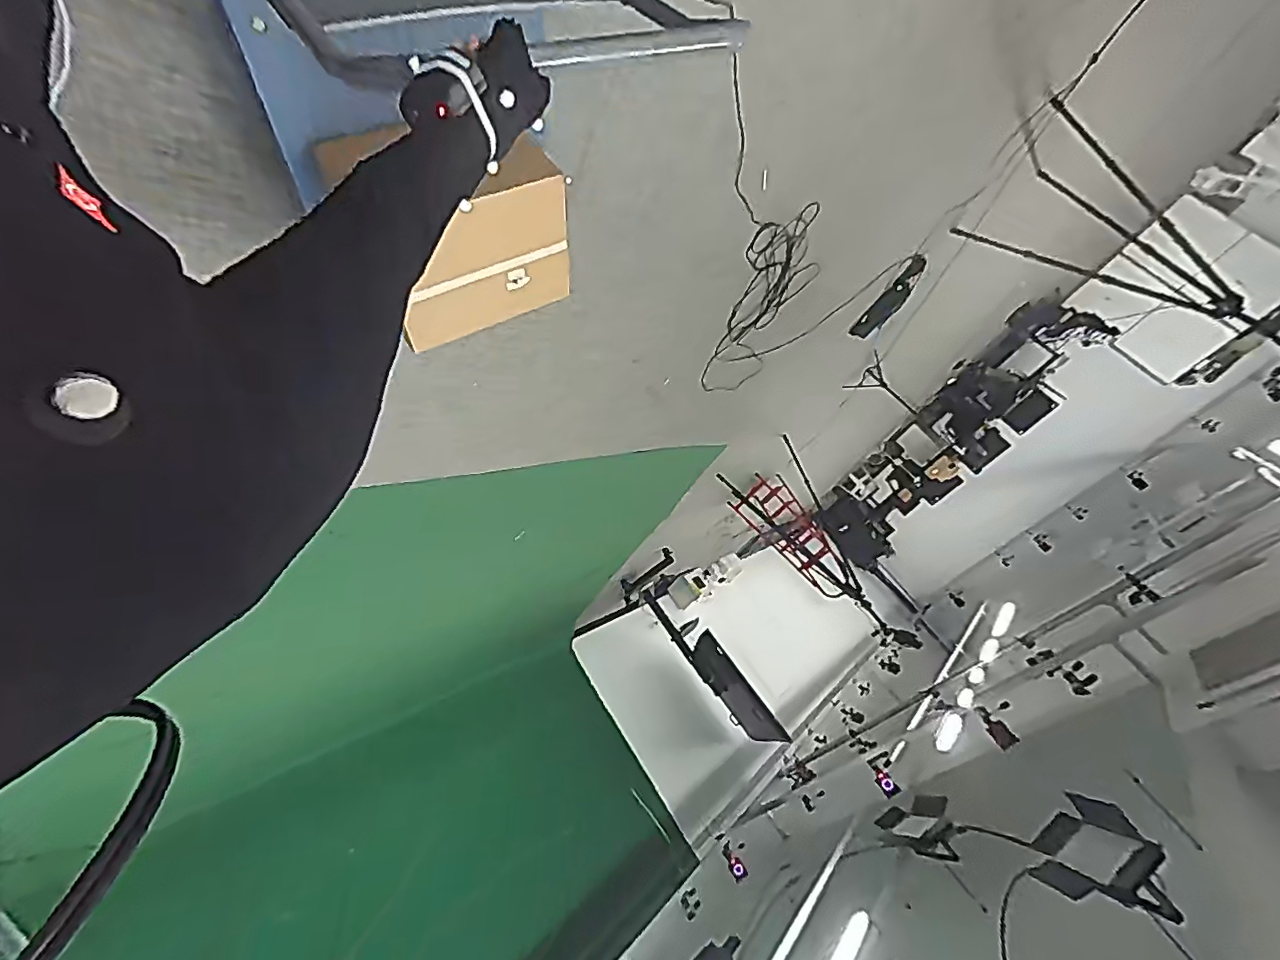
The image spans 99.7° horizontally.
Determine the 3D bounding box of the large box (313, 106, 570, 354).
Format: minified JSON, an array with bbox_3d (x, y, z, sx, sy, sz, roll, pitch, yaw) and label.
[{"bbox_3d":[-0.414,-0.558,1.204,0.408,0.320,0.320,-31,157,-20],"label":"large box"}]
